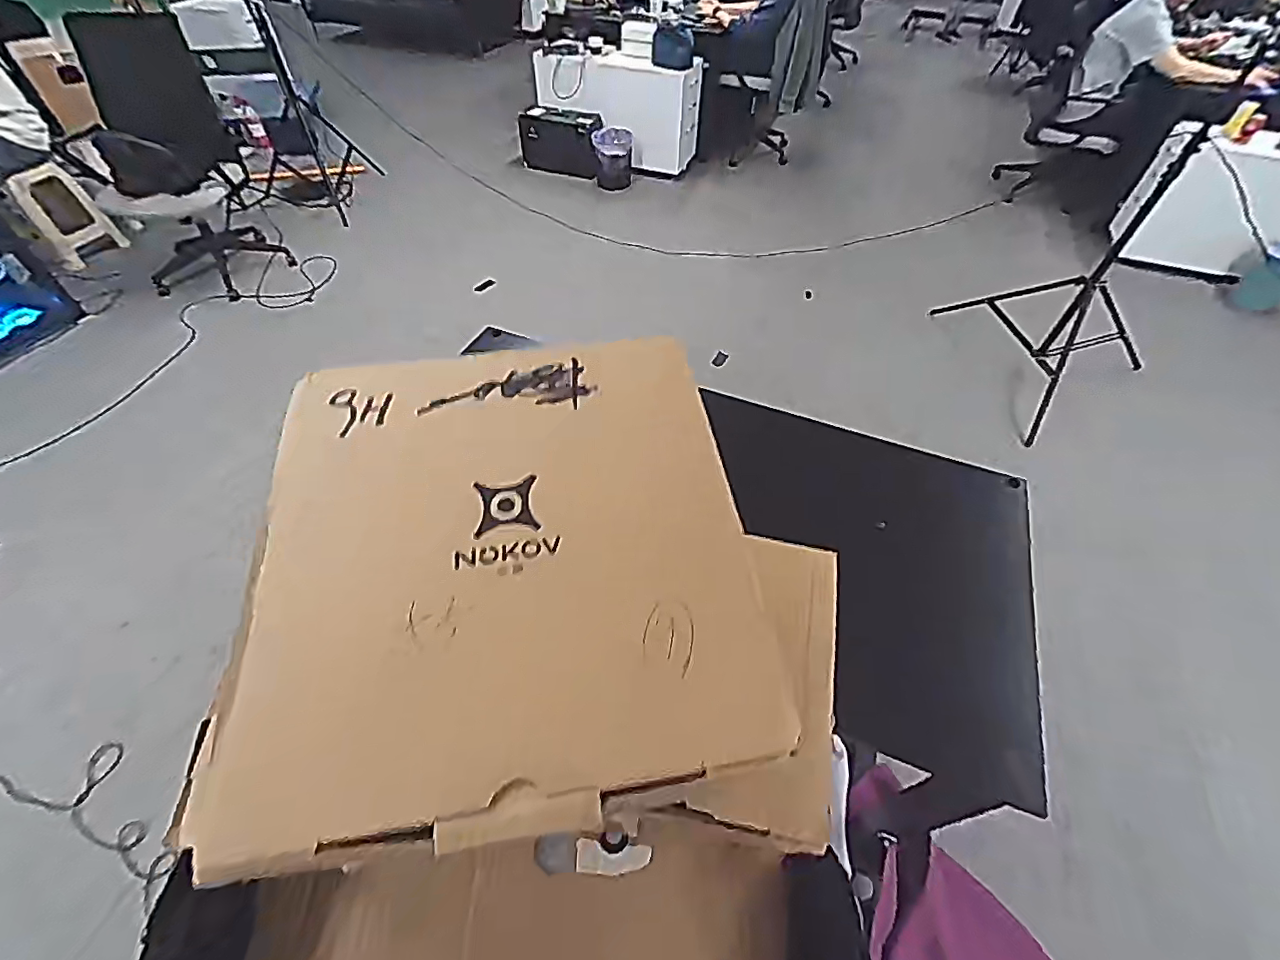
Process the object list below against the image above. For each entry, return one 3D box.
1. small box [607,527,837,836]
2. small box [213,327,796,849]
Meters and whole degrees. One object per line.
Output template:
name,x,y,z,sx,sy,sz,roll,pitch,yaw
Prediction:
small box,0.036,0.144,0.400,0.168,0.176,0.179,12,55,6
small box,-0.048,0.055,0.260,0.168,0.176,0.179,-7,58,-7
